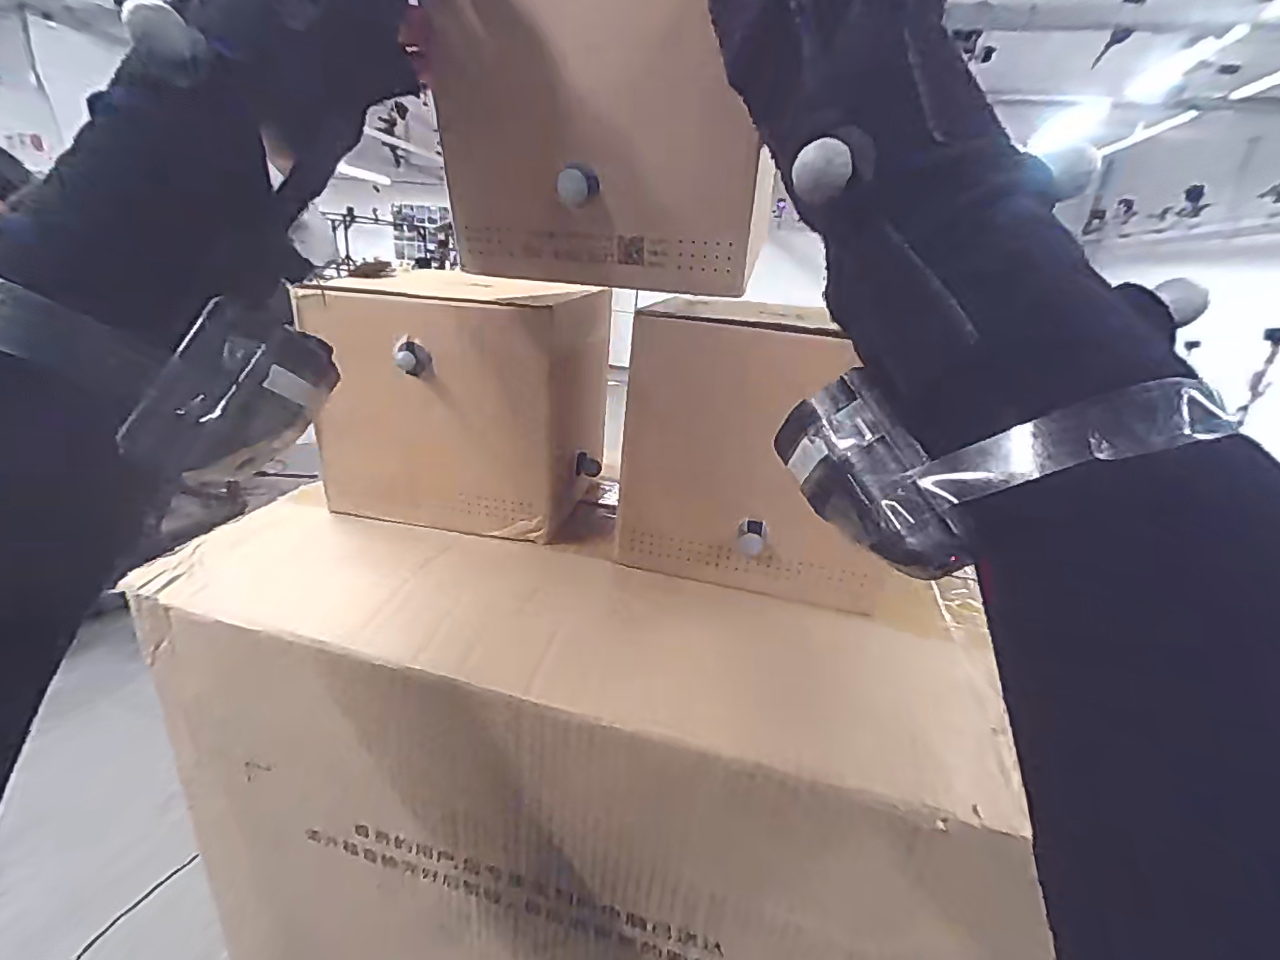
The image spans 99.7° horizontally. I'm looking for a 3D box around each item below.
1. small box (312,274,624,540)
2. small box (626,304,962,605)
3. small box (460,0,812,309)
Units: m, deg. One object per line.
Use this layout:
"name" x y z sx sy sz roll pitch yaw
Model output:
"small box" -0.121 -0.068 0.439 0.179 0.176 0.168 9 25 8
"small box" 0.096 -0.030 0.399 0.179 0.176 0.168 9 22 9
"small box" 0.006 -0.218 0.330 0.168 0.176 0.179 9 35 11
